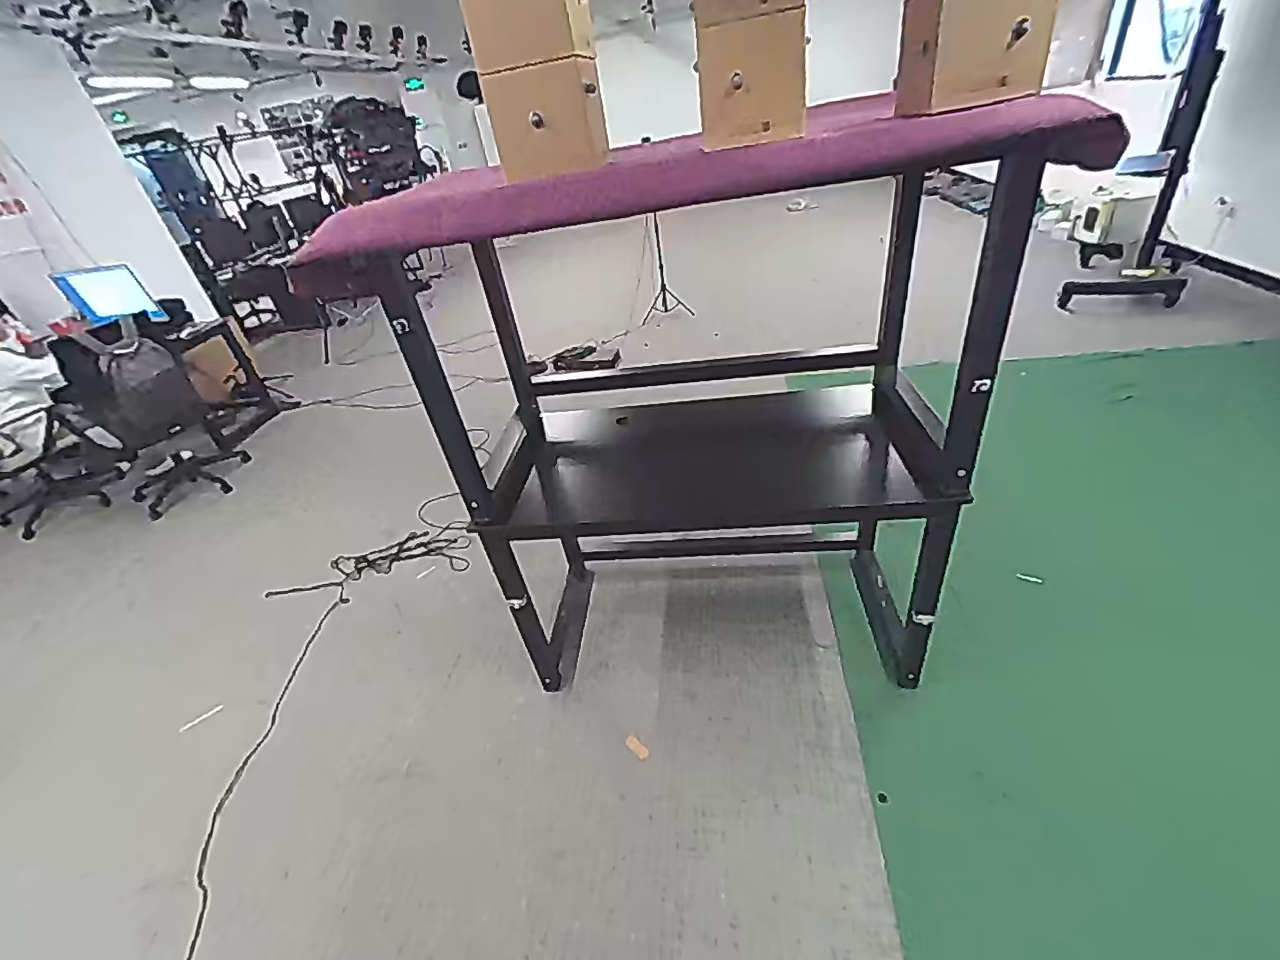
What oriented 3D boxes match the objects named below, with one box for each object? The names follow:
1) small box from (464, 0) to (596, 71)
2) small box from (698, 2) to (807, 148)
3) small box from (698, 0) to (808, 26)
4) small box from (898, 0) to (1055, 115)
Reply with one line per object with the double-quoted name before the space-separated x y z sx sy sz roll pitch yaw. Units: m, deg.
"small box" -0.181 -0.798 0.897 0.179 0.176 0.168 -2 35 12
"small box" 0.195 -0.674 0.919 0.168 0.176 0.179 0 34 14
"small box" 0.174 -0.811 0.831 0.168 0.176 0.179 0 35 14
"small box" 0.533 -0.702 0.870 0.168 0.176 0.179 -5 32 8
